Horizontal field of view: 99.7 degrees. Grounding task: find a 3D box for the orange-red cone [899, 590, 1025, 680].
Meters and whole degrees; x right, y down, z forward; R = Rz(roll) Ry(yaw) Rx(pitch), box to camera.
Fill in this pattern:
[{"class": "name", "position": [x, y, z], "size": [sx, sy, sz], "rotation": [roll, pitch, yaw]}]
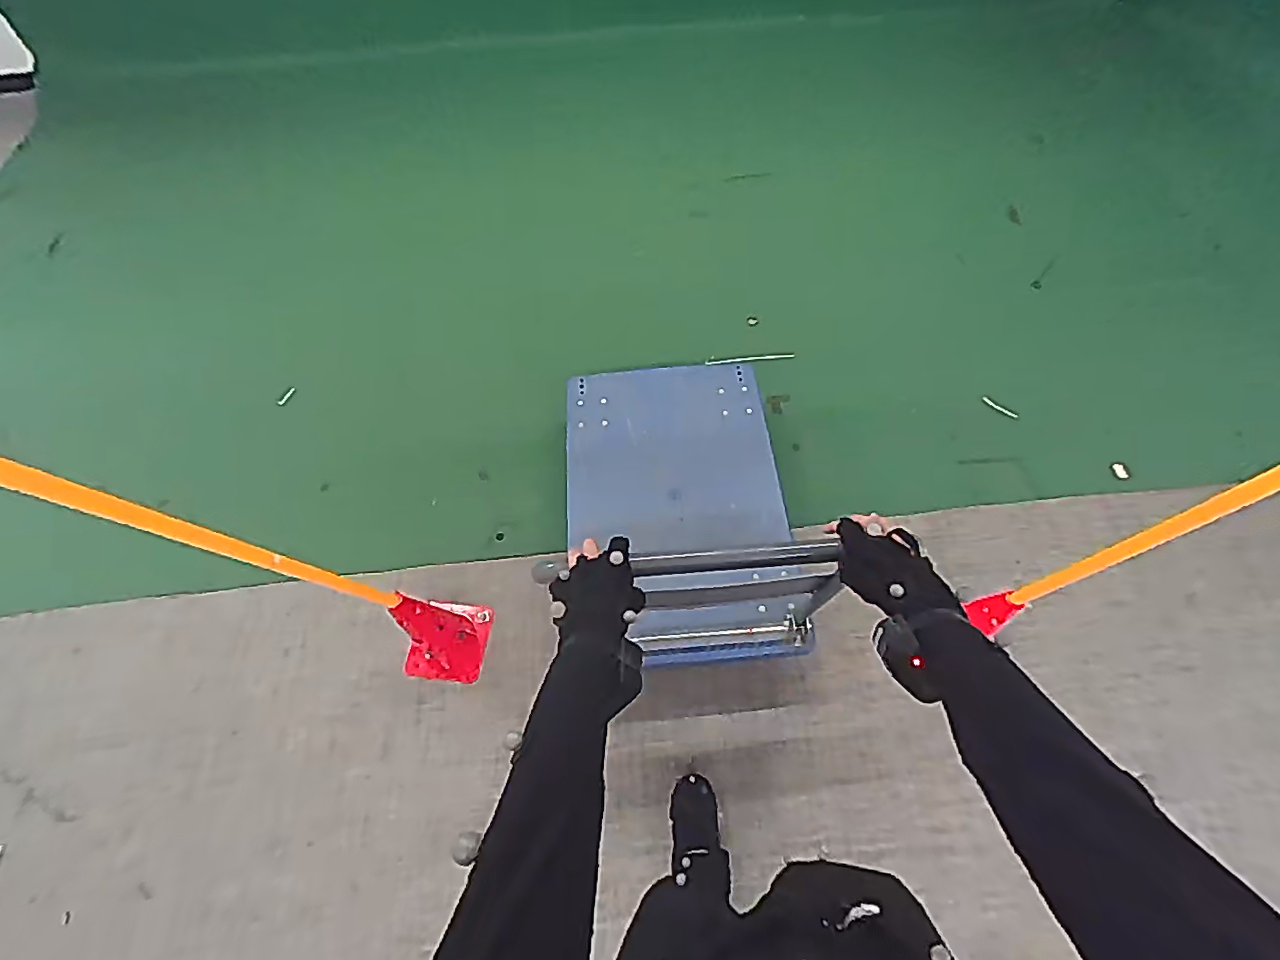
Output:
[{"class": "orange-red cone", "position": [0.779, 0.331, 1.261], "size": [0.198, 0.360, 0.199], "rotation": [4, 61, 5]}]
